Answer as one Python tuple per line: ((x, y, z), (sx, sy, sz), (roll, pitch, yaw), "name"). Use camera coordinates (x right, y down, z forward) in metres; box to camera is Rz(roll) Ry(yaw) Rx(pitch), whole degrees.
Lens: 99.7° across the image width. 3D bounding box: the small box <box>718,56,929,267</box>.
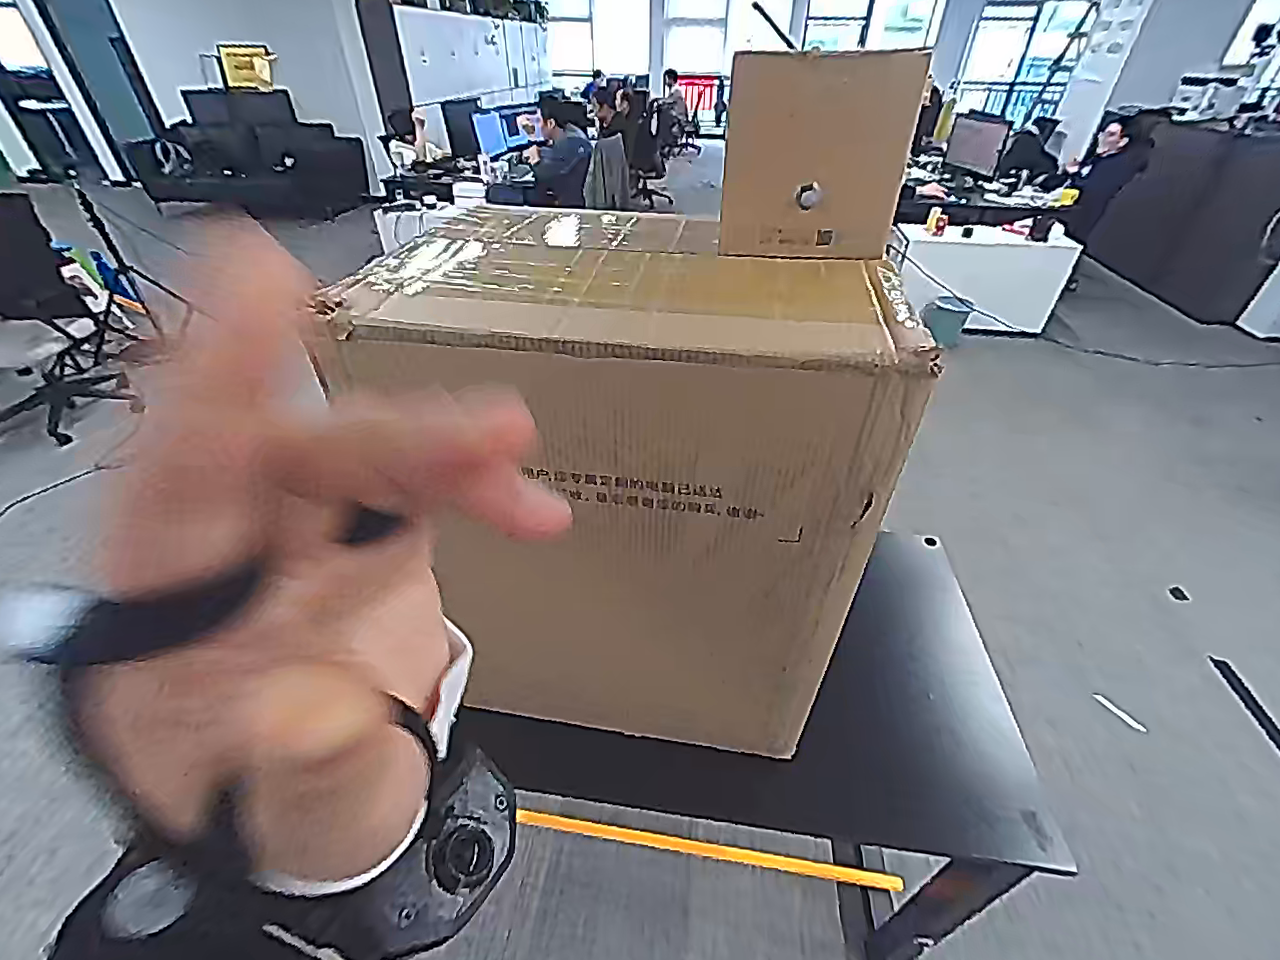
((0.172, -0.336, 0.571), (0.168, 0.176, 0.179), (4, 36, 7), "small box")
